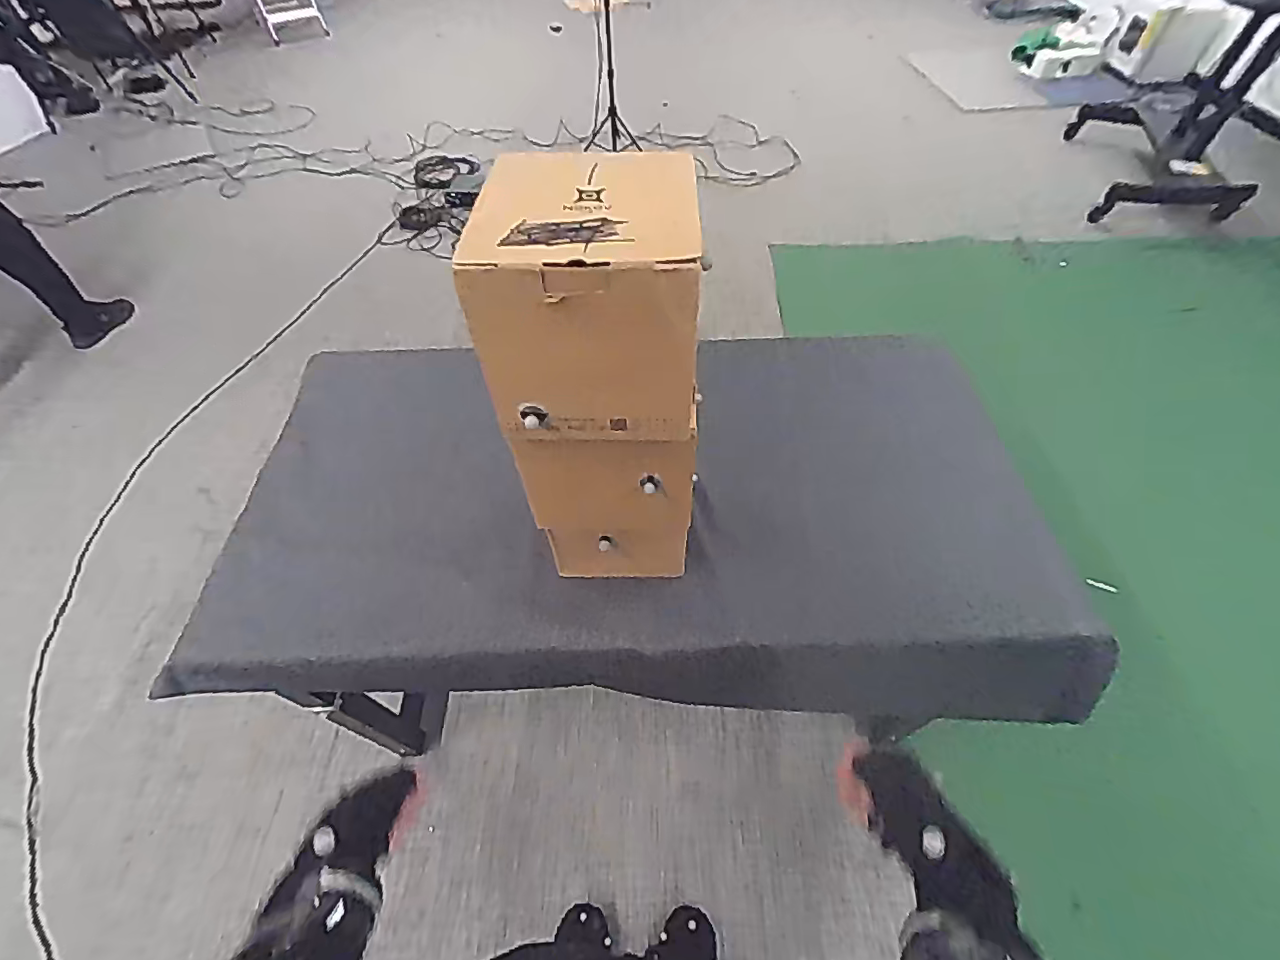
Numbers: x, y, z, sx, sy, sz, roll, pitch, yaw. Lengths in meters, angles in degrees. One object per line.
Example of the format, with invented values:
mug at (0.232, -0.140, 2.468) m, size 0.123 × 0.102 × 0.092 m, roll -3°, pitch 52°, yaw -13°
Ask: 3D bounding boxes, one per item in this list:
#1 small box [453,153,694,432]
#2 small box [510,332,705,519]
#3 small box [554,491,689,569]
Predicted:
small box at (-0.039, -0.156, 0.468) m, size 0.168 × 0.176 × 0.179 m, roll 1°, pitch 52°, yaw 1°
small box at (-0.032, -0.070, 0.589) m, size 0.179 × 0.176 × 0.168 m, roll -3°, pitch 53°, yaw -1°
small box at (-0.029, 0.014, 0.751) m, size 0.179 × 0.176 × 0.168 m, roll -2°, pitch 52°, yaw -1°
